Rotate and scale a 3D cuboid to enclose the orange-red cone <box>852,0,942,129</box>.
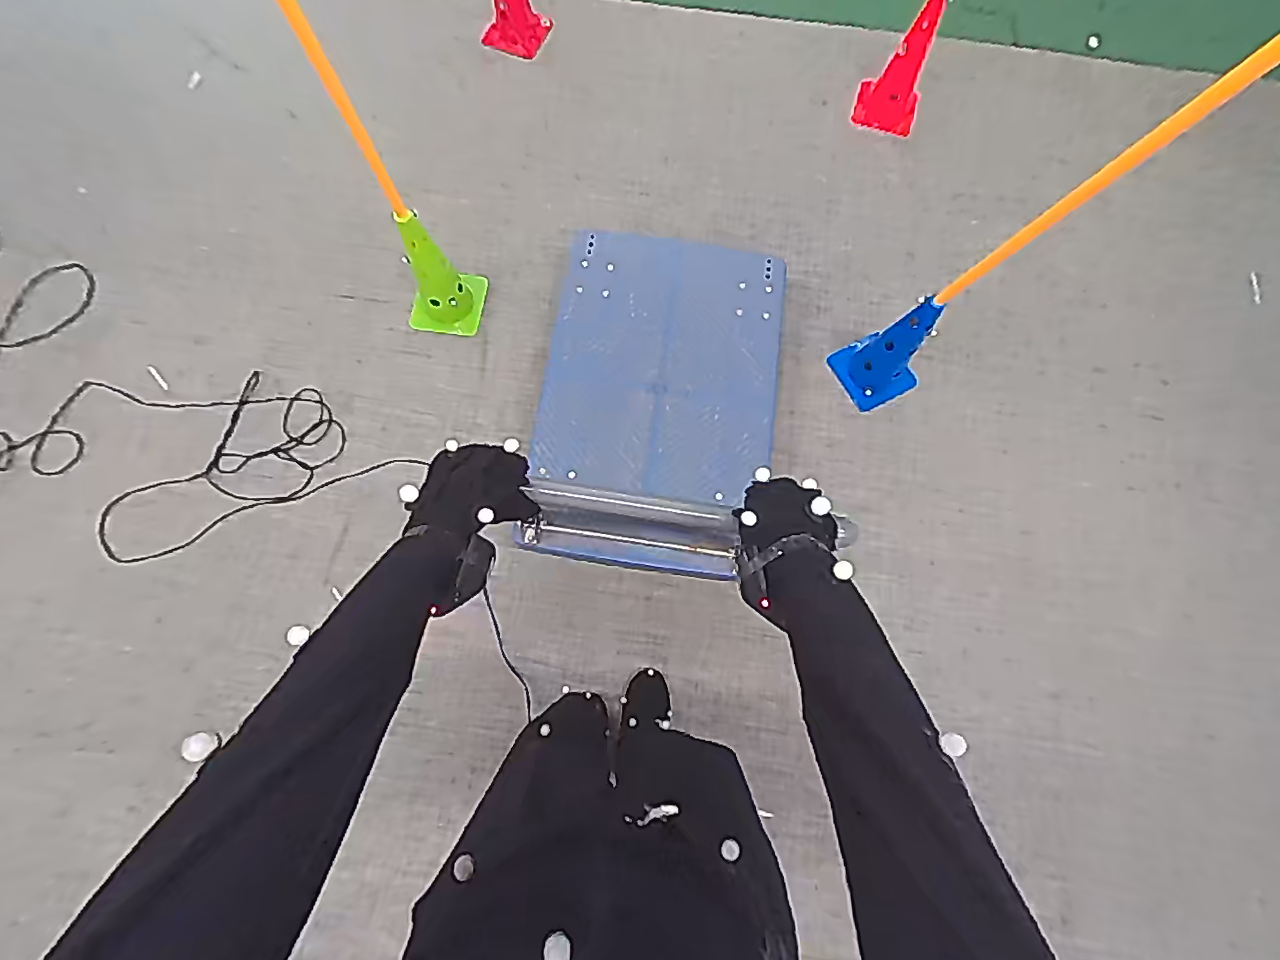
[{"bbox_3d":[0.817,-1.302,1.632,0.198,0.360,0.199,19,77,5],"label":"orange-red cone"}]
